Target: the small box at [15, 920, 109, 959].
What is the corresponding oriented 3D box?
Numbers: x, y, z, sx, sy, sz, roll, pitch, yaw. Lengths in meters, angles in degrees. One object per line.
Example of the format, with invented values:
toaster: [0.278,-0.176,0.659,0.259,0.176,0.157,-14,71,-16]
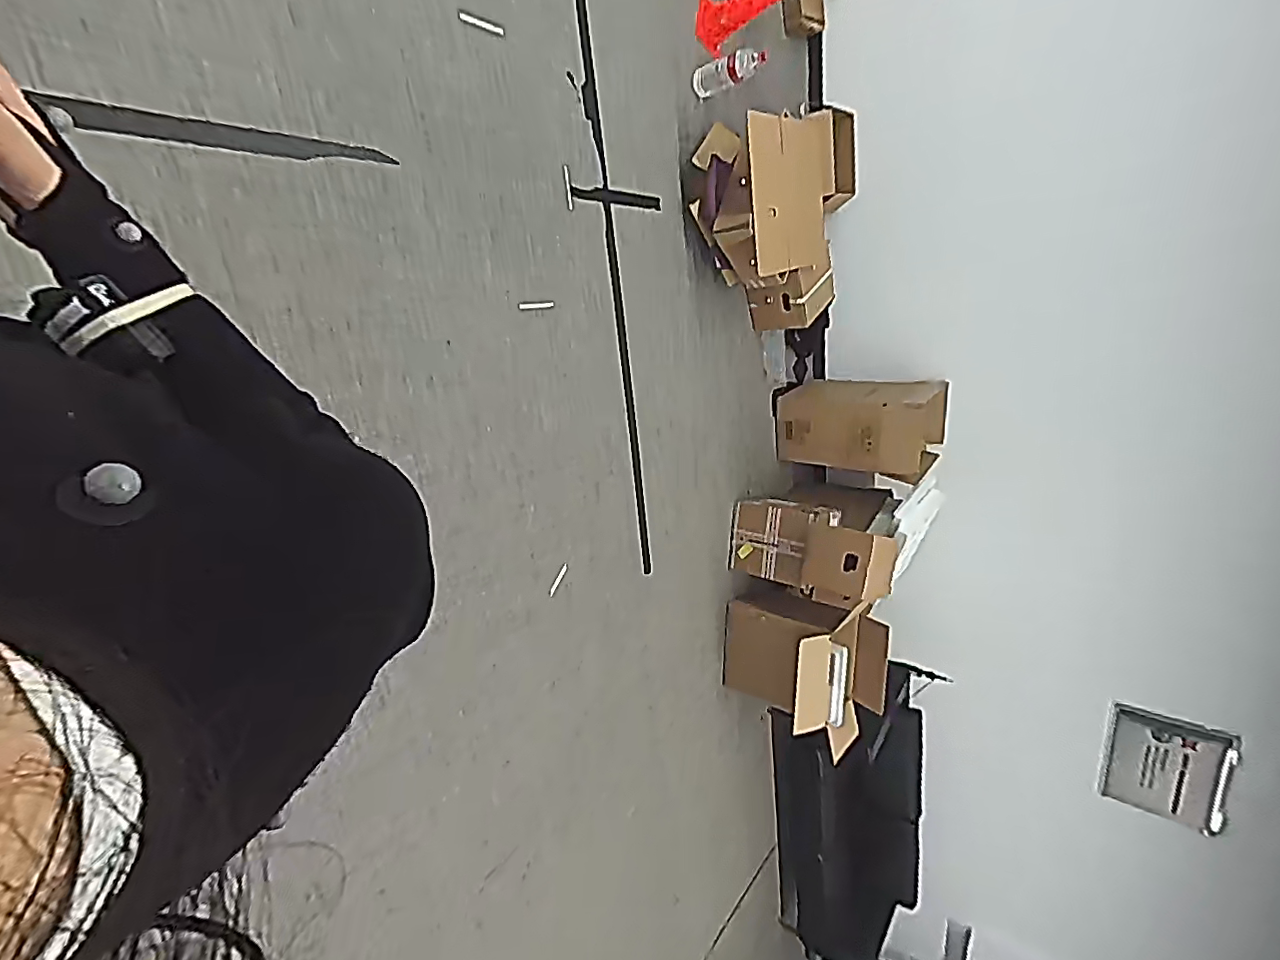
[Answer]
small box: [-1.164,1.034,1.056,0.179,0.176,0.168,-25,115,-47]
